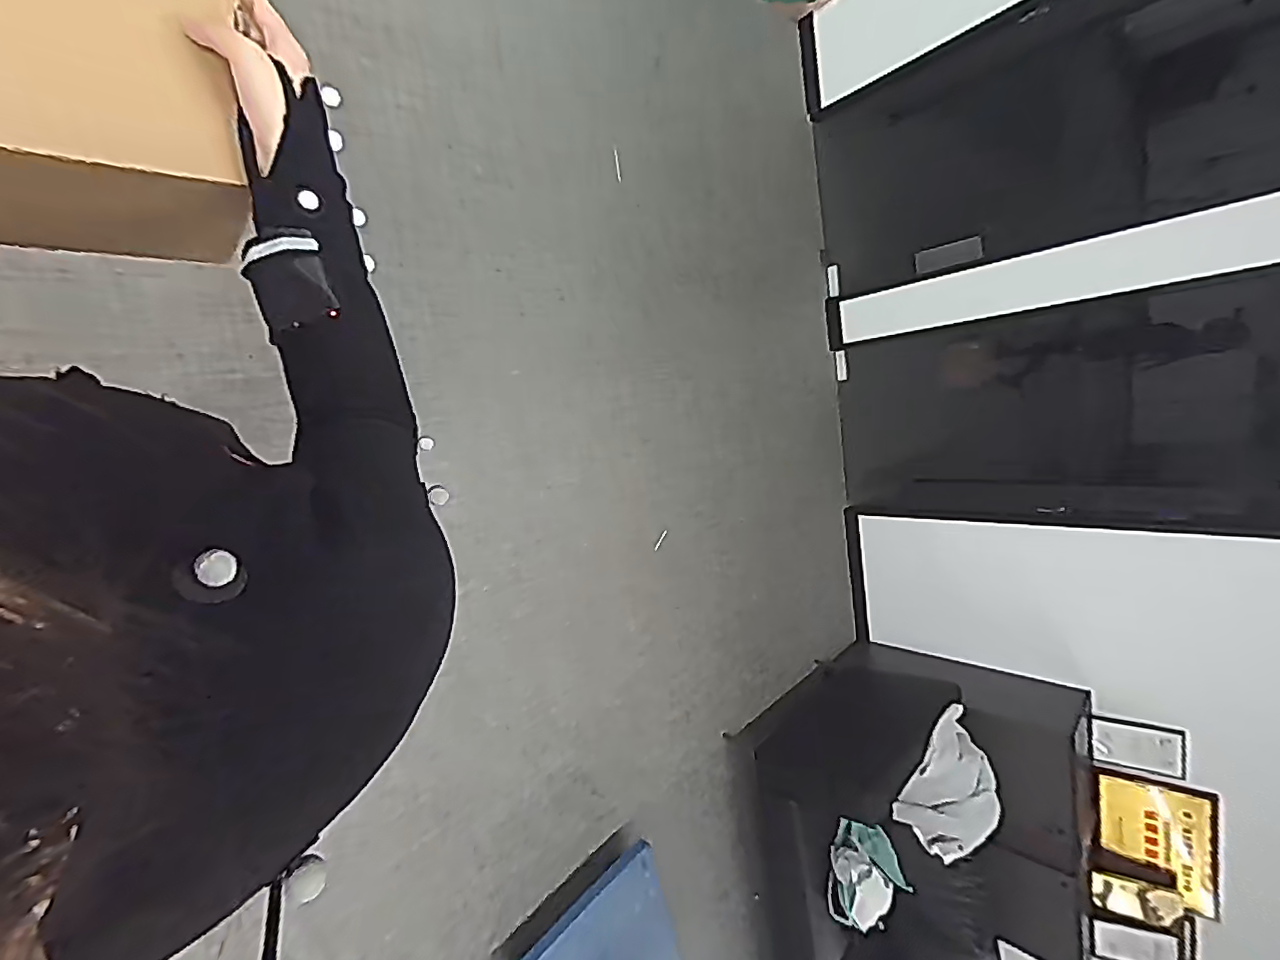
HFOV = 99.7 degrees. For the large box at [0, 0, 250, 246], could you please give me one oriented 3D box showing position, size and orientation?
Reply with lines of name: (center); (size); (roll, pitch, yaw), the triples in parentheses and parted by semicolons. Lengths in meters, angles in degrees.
large box: (-0.560, -0.373, 0.387); (0.408, 0.320, 0.320); (-11, 104, -38)
